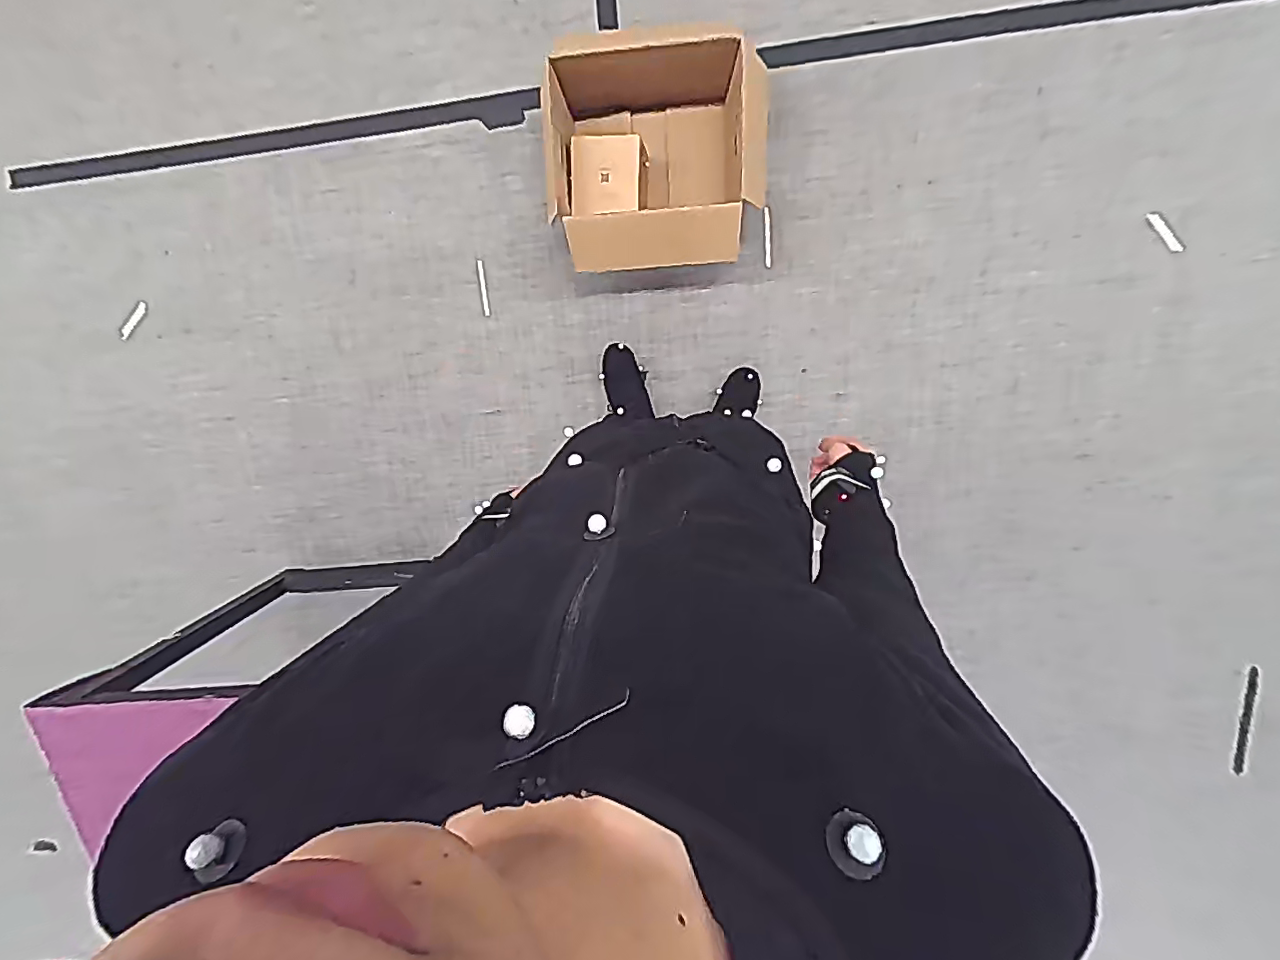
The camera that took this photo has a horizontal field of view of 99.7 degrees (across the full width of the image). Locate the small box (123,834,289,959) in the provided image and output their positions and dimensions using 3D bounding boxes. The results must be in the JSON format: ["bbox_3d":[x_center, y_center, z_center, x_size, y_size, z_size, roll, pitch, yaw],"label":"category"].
[{"bbox_3d":[-0.850,0.849,1.084,0.179,0.176,0.168,-14,103,7],"label":"small box"}]
